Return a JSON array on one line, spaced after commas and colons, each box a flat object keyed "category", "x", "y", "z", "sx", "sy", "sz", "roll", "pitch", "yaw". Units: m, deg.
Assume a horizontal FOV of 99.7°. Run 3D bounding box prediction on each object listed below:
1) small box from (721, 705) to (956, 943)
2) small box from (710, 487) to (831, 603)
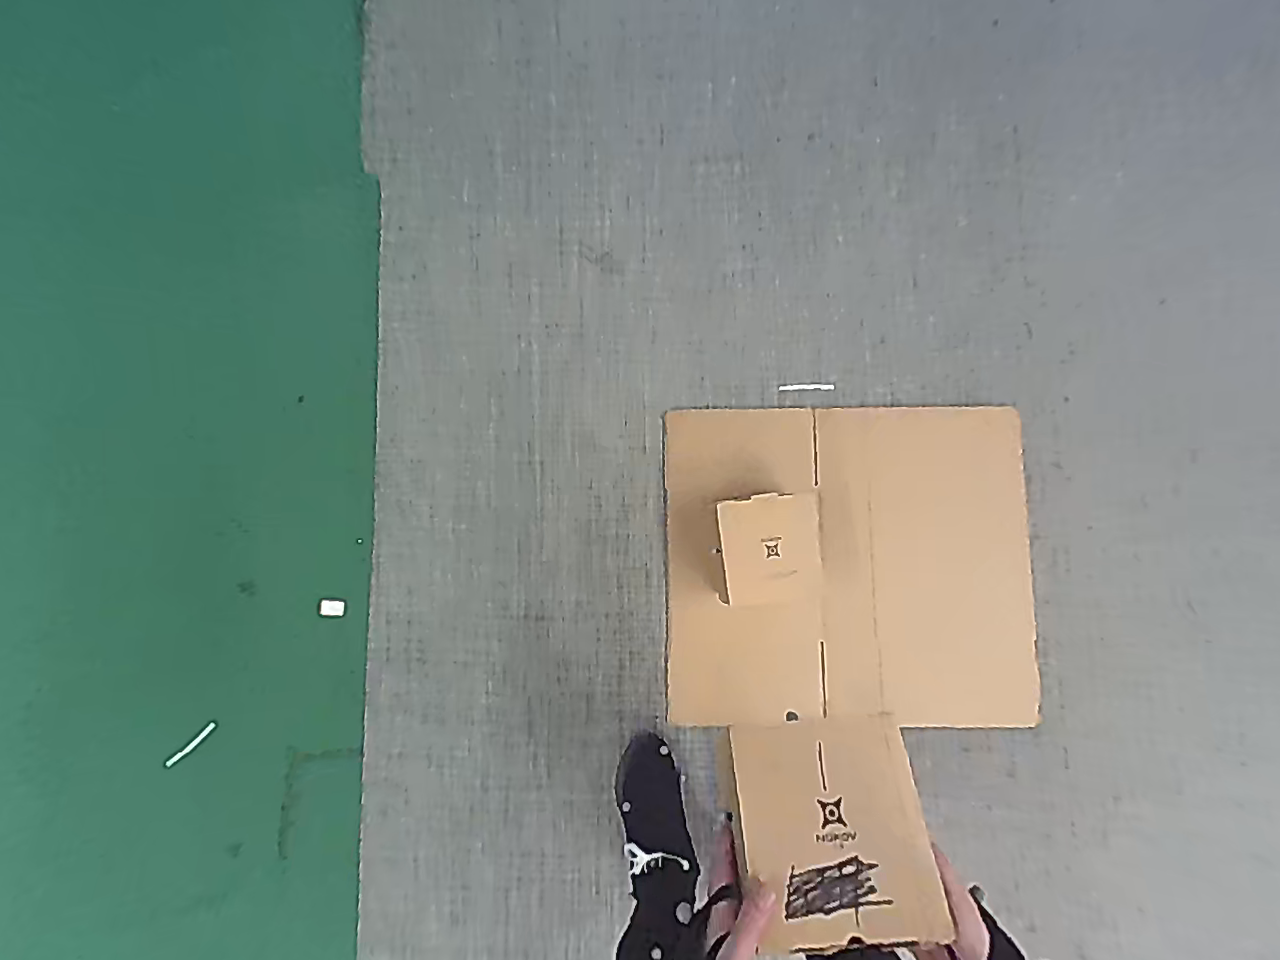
[{"category": "small box", "x": 0.179, "y": 0.338, "z": 0.553, "sx": 0.168, "sy": 0.176, "sz": 0.179, "roll": -5, "pitch": 60, "yaw": 1}, {"category": "small box", "x": 0.222, "y": 0.114, "z": 0.960, "sx": 0.168, "sy": 0.176, "sz": 0.179, "roll": -7, "pitch": 85, "yaw": 1}]
